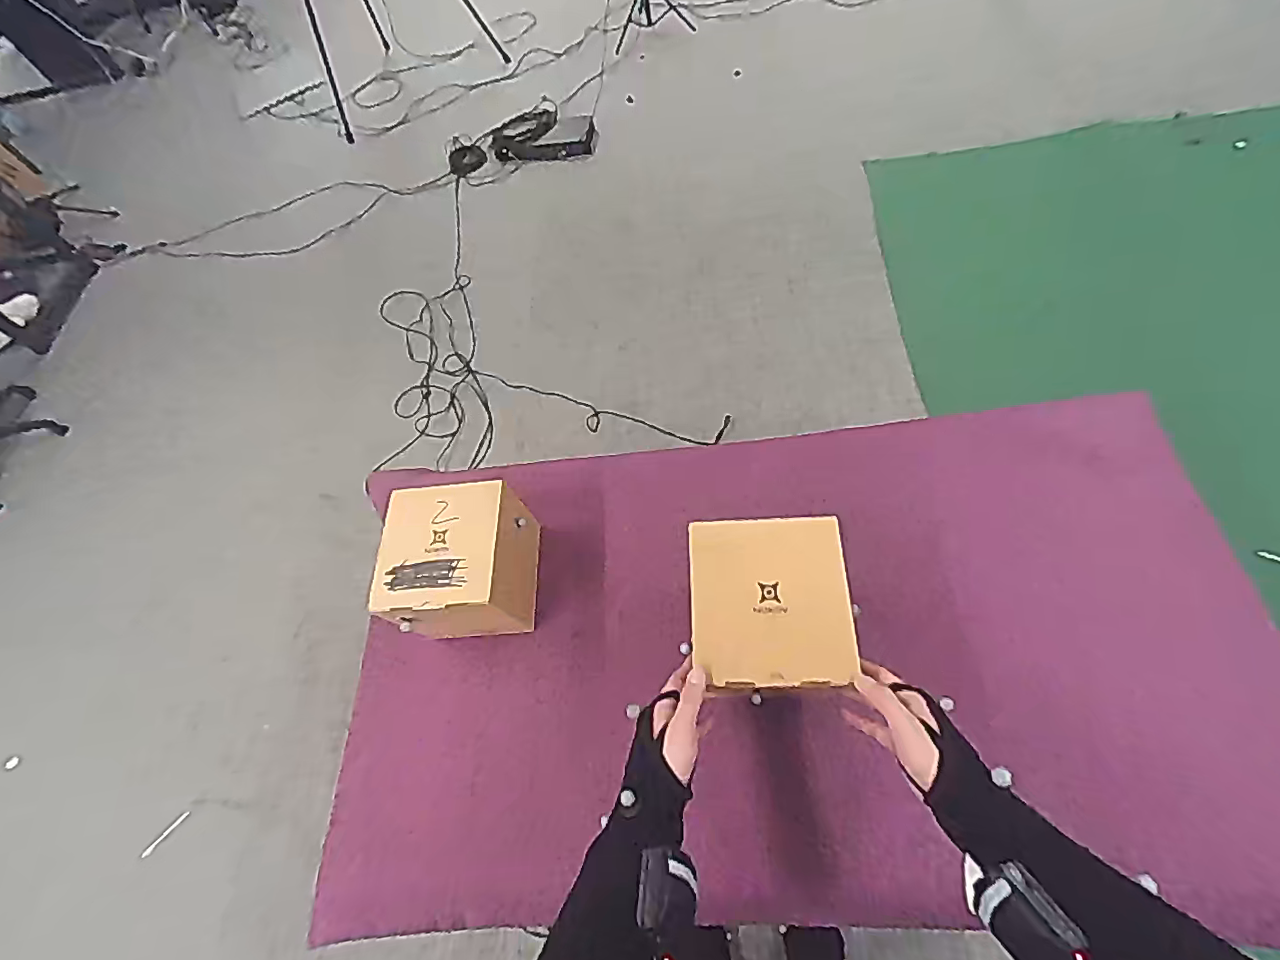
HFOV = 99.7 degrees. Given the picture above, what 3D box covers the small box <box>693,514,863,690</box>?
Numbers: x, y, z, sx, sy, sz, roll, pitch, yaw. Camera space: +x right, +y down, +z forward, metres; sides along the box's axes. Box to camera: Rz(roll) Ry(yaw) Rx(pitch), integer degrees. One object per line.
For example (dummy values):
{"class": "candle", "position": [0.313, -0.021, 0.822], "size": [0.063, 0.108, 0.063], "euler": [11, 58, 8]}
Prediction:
{"class": "small box", "position": [0.147, 0.151, 0.643], "size": [0.168, 0.176, 0.179], "euler": [-3, 66, 6]}
